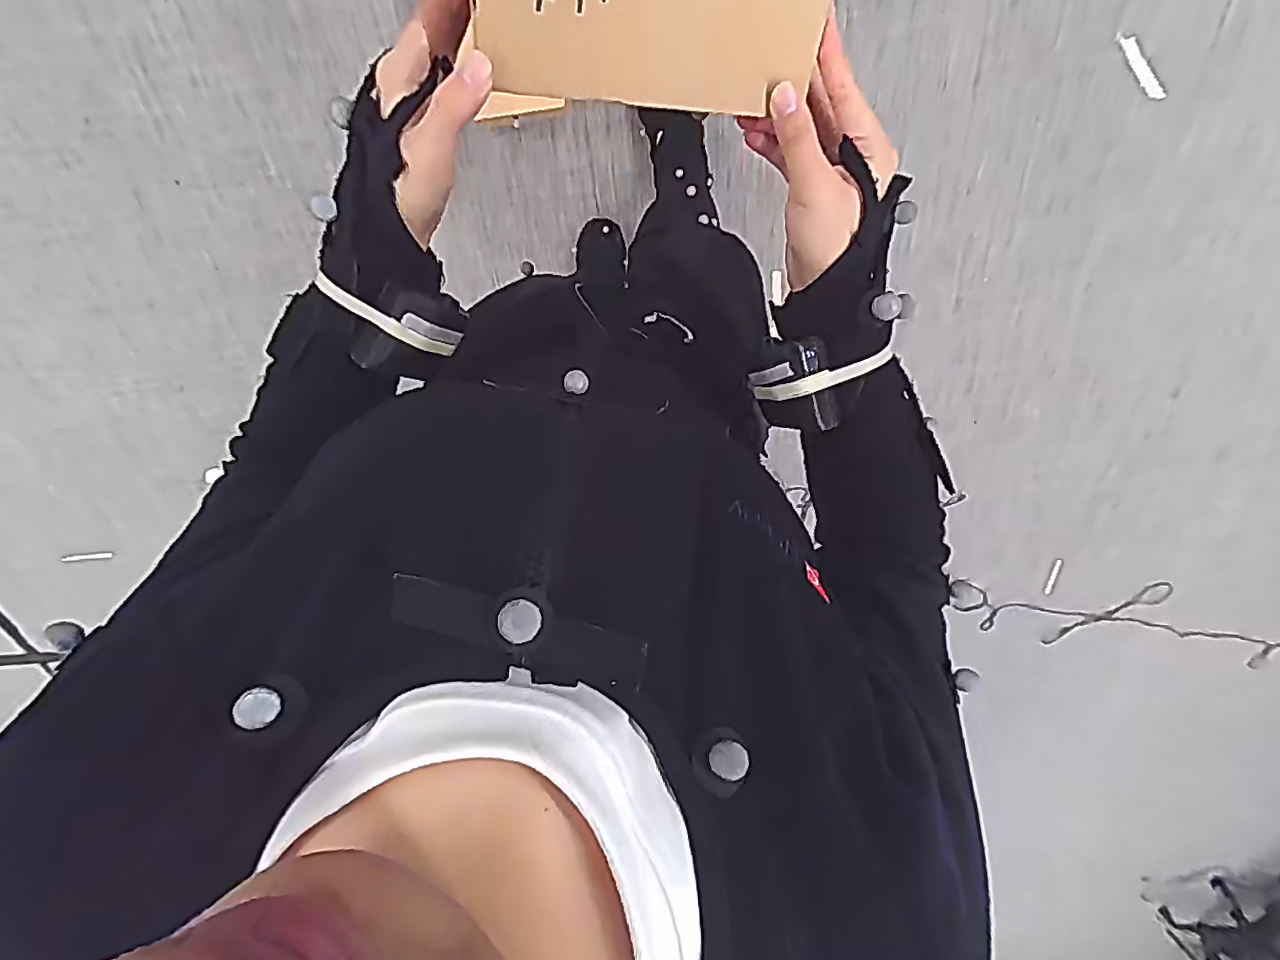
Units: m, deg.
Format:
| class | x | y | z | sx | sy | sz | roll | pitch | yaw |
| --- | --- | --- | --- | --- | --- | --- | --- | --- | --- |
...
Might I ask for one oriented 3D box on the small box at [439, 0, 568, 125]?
| class | x | y | z | sx | sy | sz | roll | pitch | yaw |
| --- | --- | --- | --- | --- | --- | --- | --- | --- | --- |
| small box | -0.227 | -0.739 | 0.960 | 0.179 | 0.176 | 0.168 | -6 | 121 | 3 |
